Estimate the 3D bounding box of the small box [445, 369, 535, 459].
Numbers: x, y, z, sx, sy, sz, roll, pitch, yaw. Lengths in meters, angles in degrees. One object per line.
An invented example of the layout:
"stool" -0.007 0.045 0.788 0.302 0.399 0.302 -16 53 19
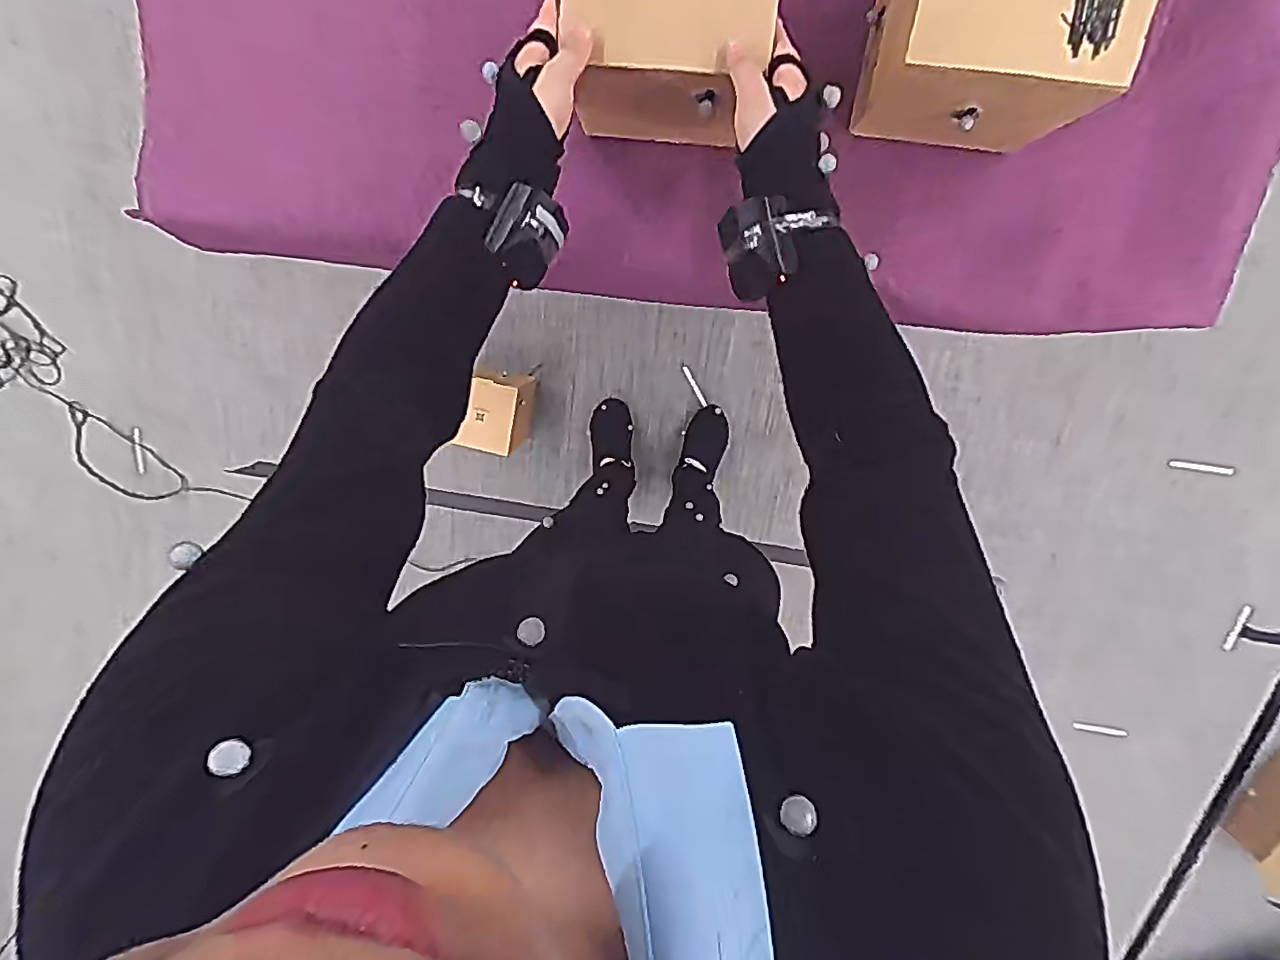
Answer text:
"small box" -0.375 -0.174 1.377 0.168 0.176 0.179 13 107 1
